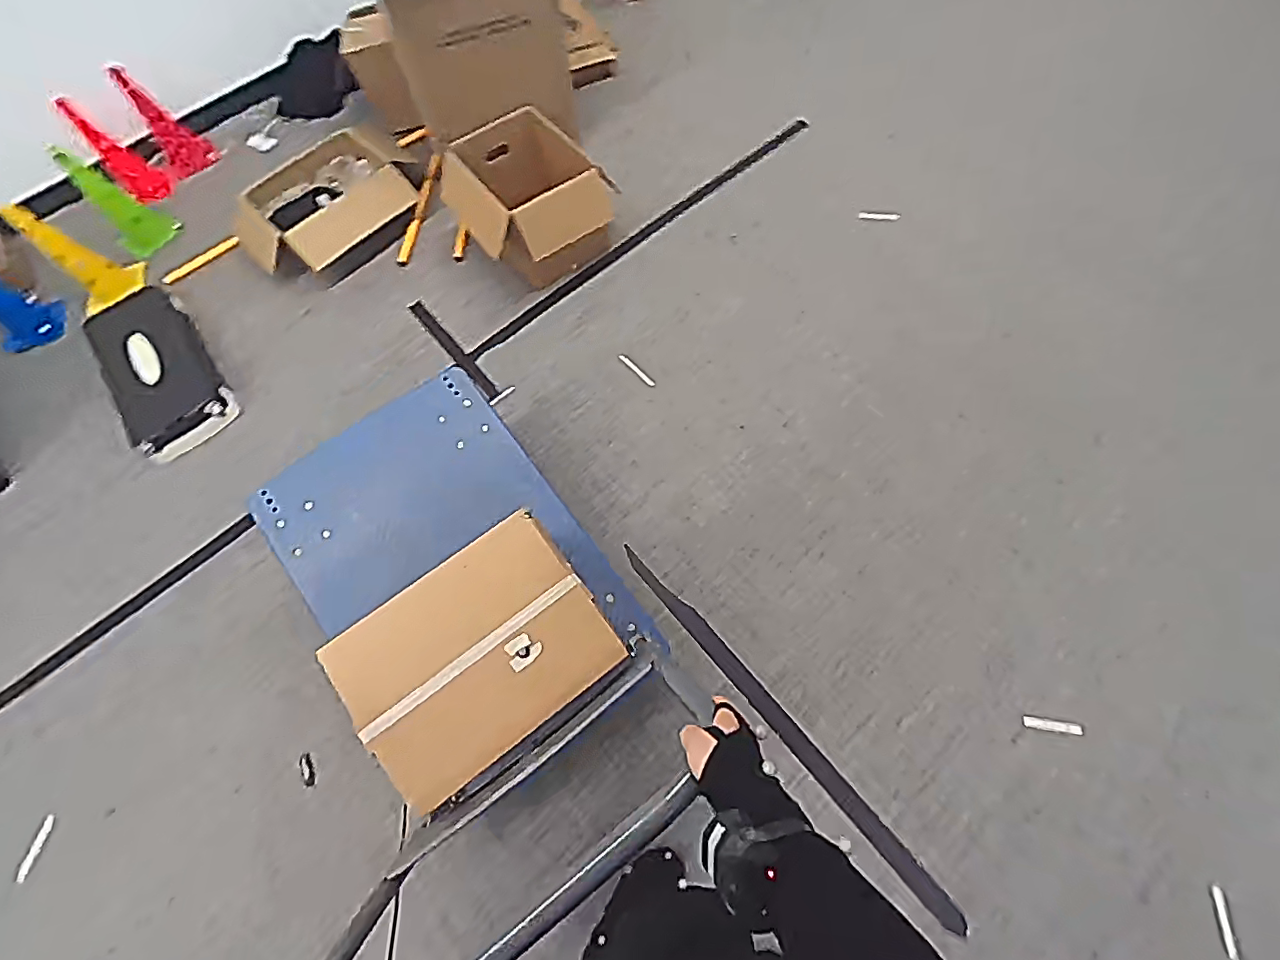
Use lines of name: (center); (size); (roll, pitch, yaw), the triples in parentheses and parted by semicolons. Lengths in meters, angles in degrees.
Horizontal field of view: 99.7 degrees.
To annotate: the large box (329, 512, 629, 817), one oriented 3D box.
large box: (-0.273, 0.328, 1.036); (0.408, 0.320, 0.320); (-36, 81, -12)
